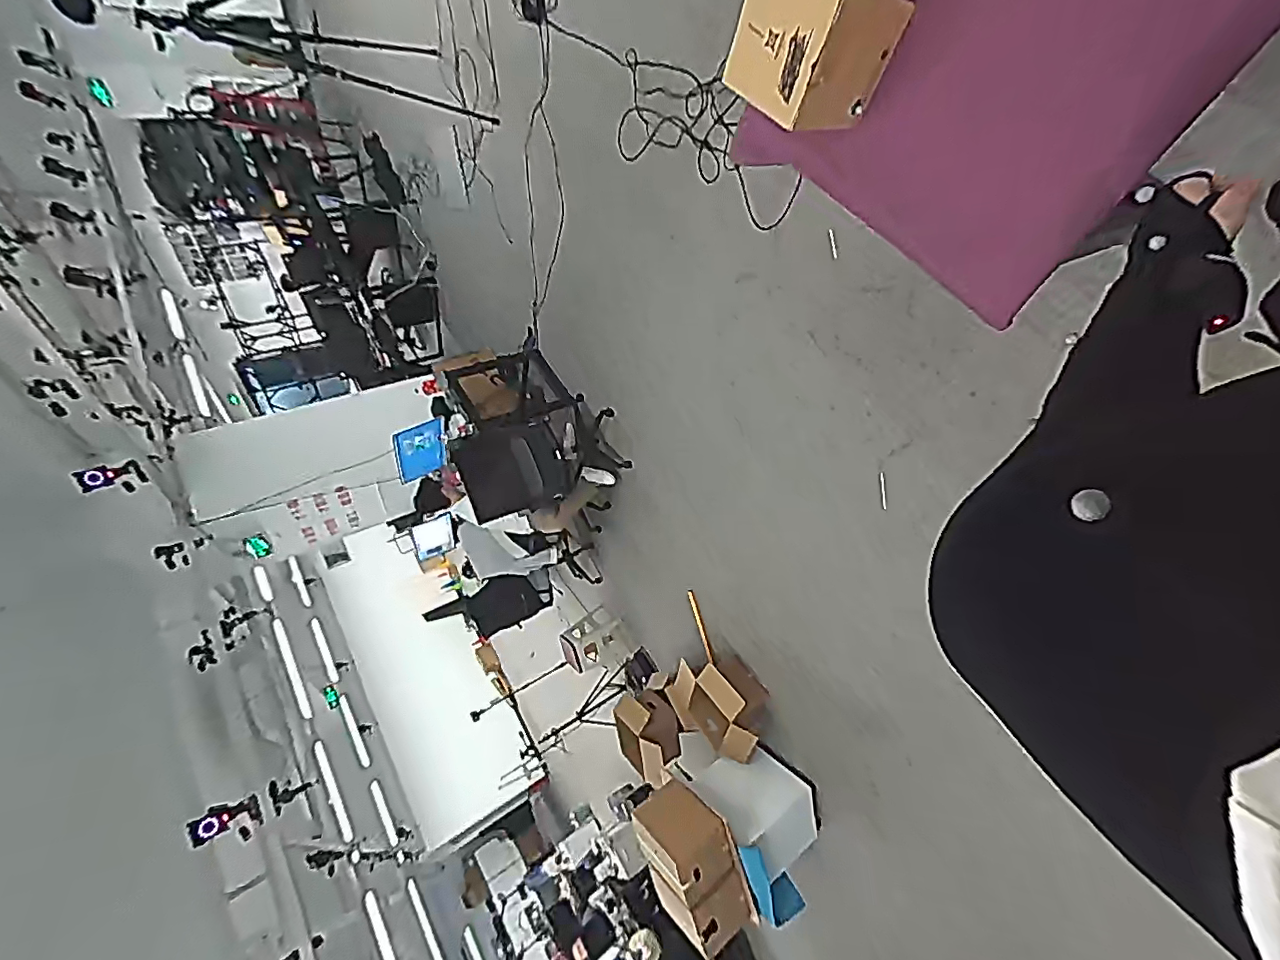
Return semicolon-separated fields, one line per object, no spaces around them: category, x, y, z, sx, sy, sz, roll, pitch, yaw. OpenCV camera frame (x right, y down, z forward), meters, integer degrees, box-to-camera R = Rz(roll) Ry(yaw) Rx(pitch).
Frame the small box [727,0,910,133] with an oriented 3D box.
small box;0.274;-0.672;0.840;0.179;0.176;0.168;54;149;25
